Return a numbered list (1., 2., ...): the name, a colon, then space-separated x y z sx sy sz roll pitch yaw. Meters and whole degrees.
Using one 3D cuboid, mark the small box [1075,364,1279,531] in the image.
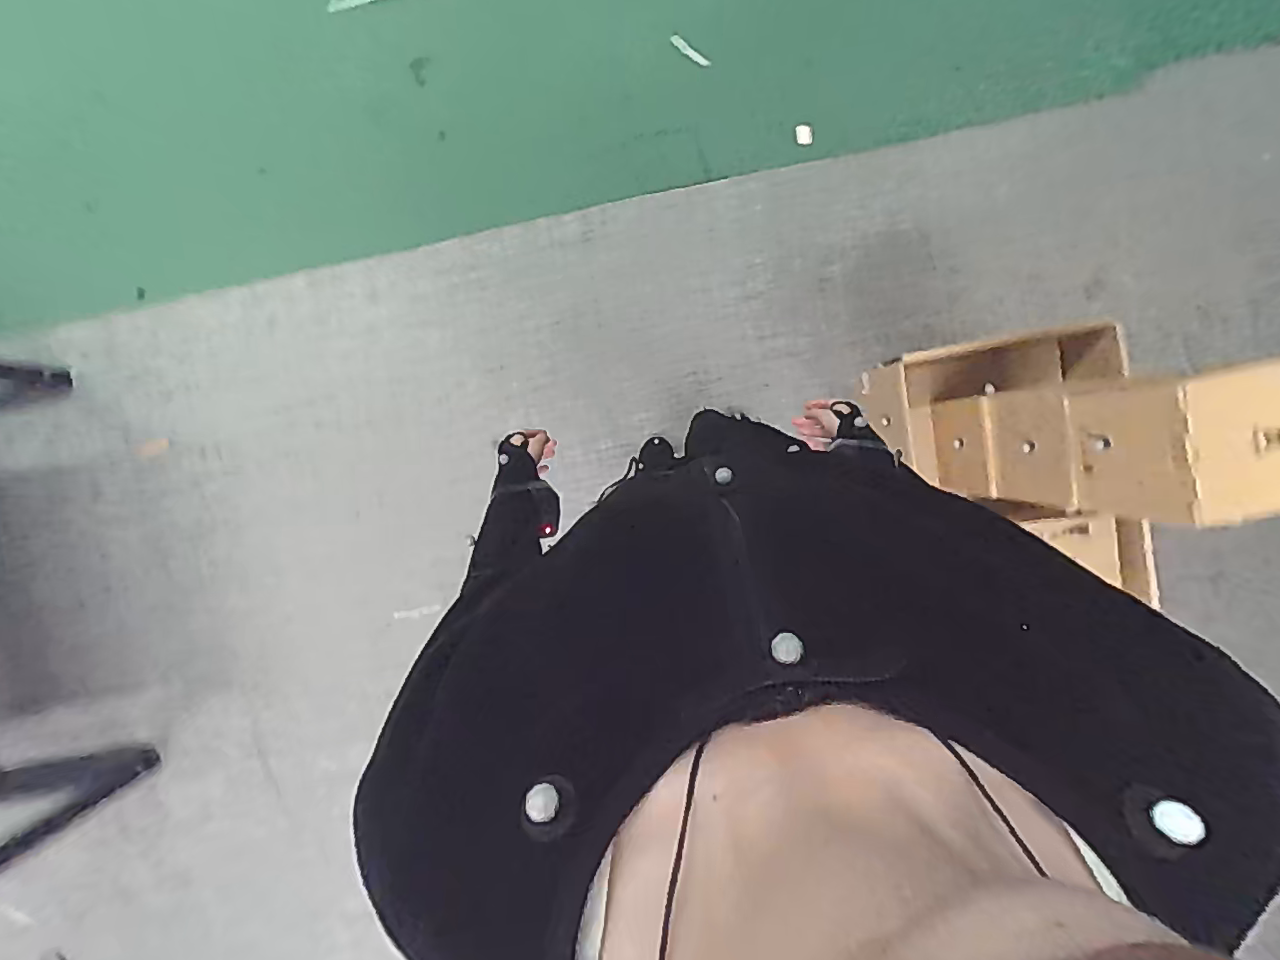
1. small box: 0.689 -0.045 0.660 0.179 0.176 0.168 -11 93 2
